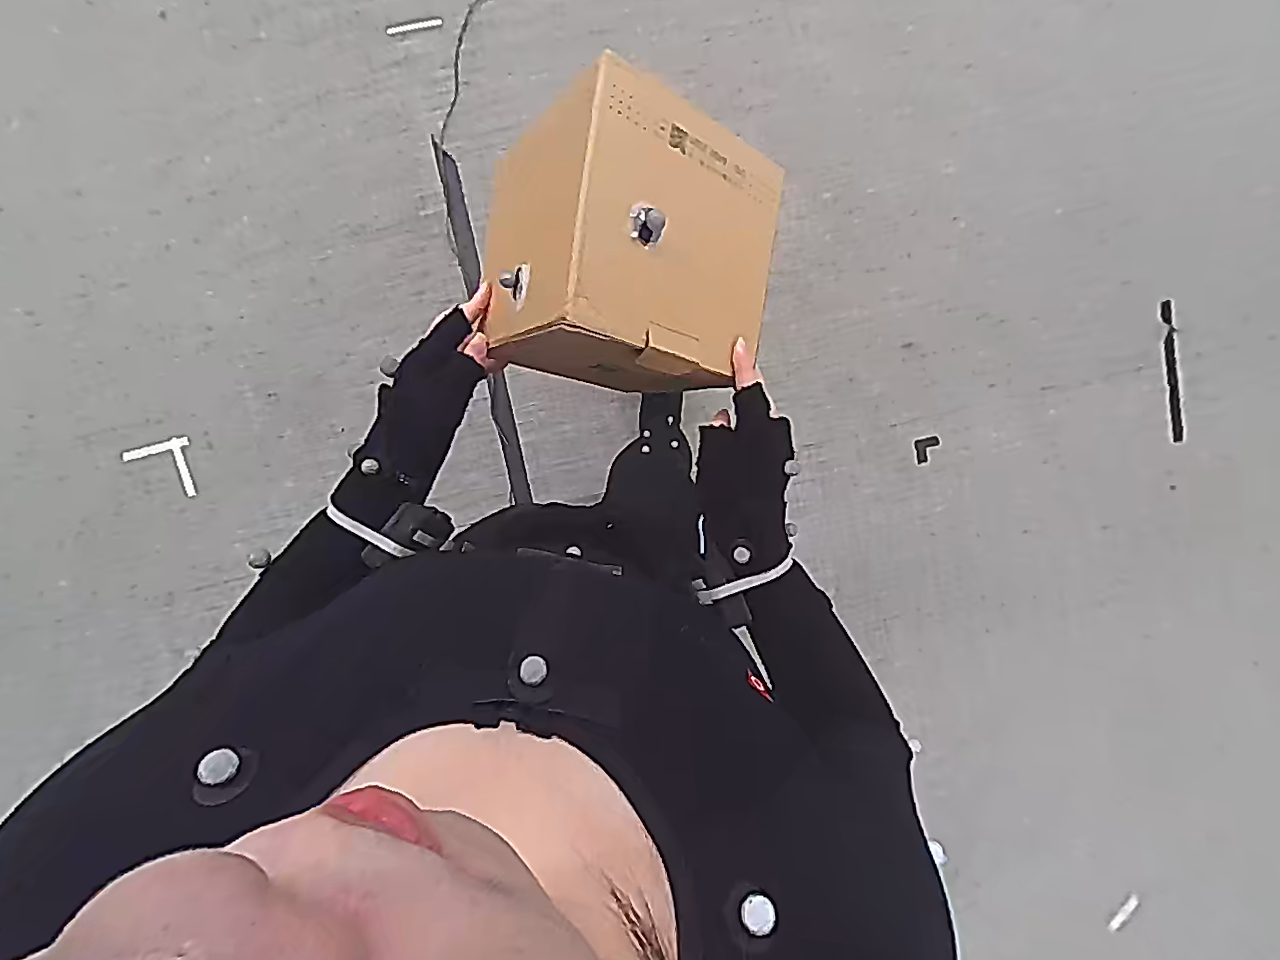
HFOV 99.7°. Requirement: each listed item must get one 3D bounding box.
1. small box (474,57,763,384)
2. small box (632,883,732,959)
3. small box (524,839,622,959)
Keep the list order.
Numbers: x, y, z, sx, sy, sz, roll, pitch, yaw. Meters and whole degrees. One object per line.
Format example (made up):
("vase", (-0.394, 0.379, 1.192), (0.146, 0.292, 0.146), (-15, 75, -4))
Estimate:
("small box", (-0.018, -0.180, 0.434), (0.168, 0.179, 0.176), (8, 91, -36))
("small box", (0.084, 0.879, 0.967), (0.168, 0.176, 0.179), (-13, 95, 0))
("small box", (-0.131, 0.899, 1.125), (0.168, 0.176, 0.179), (-10, 95, -1))
